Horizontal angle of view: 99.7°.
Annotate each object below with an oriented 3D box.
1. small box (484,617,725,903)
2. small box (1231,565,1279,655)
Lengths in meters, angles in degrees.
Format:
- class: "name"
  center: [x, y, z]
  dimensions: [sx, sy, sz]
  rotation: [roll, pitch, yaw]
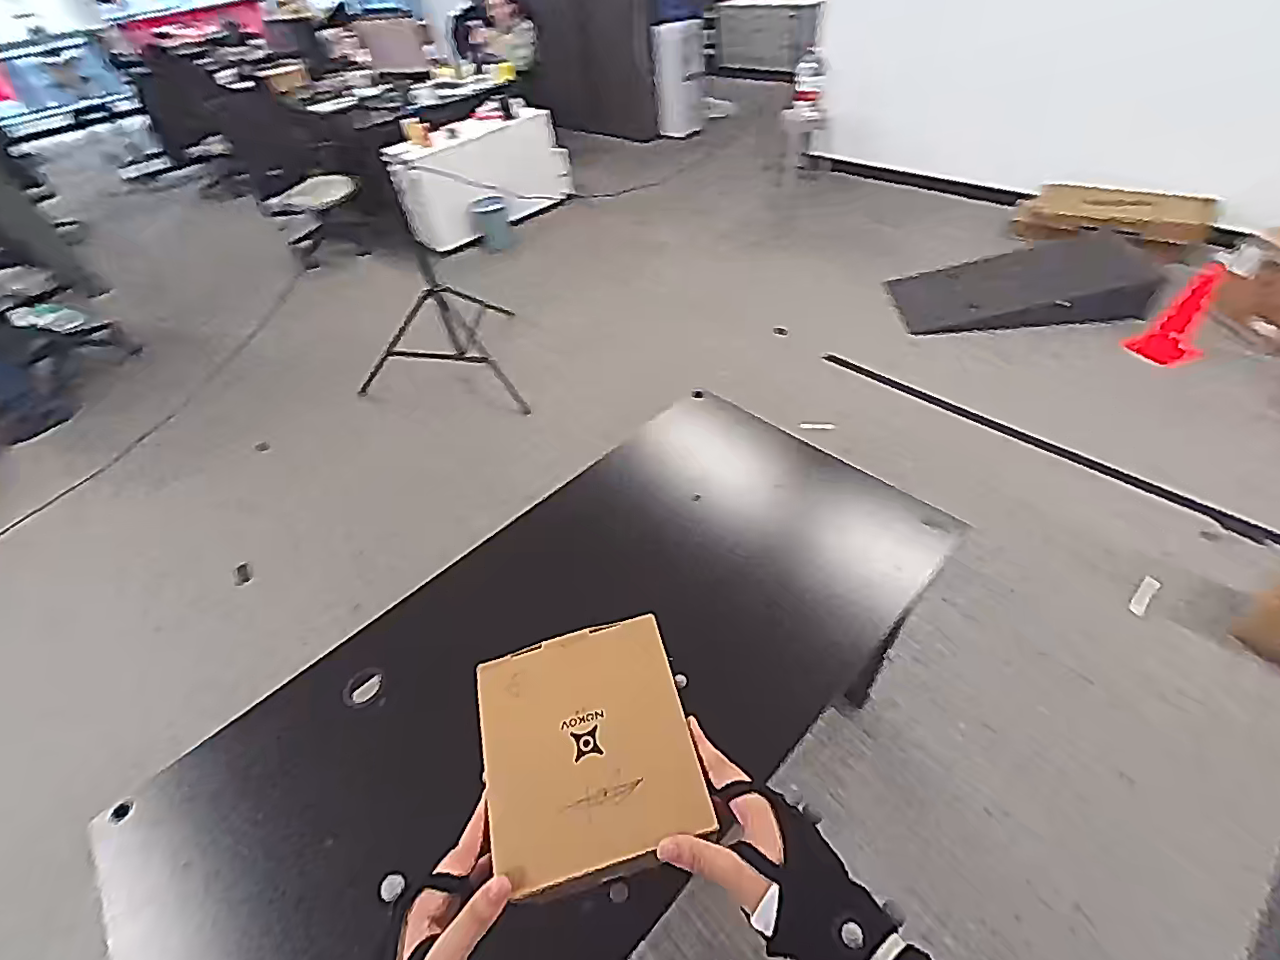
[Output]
- class: "small box"
  center: [-0.032, 0.254, 0.487]
  dimensions: [0.168, 0.176, 0.179]
  rotation: [-14, 53, -4]
- class: "small box"
  center: [1.658, 0.337, 1.356]
  dimensions: [0.179, 0.176, 0.168]
  rotation: [-36, 52, -22]
